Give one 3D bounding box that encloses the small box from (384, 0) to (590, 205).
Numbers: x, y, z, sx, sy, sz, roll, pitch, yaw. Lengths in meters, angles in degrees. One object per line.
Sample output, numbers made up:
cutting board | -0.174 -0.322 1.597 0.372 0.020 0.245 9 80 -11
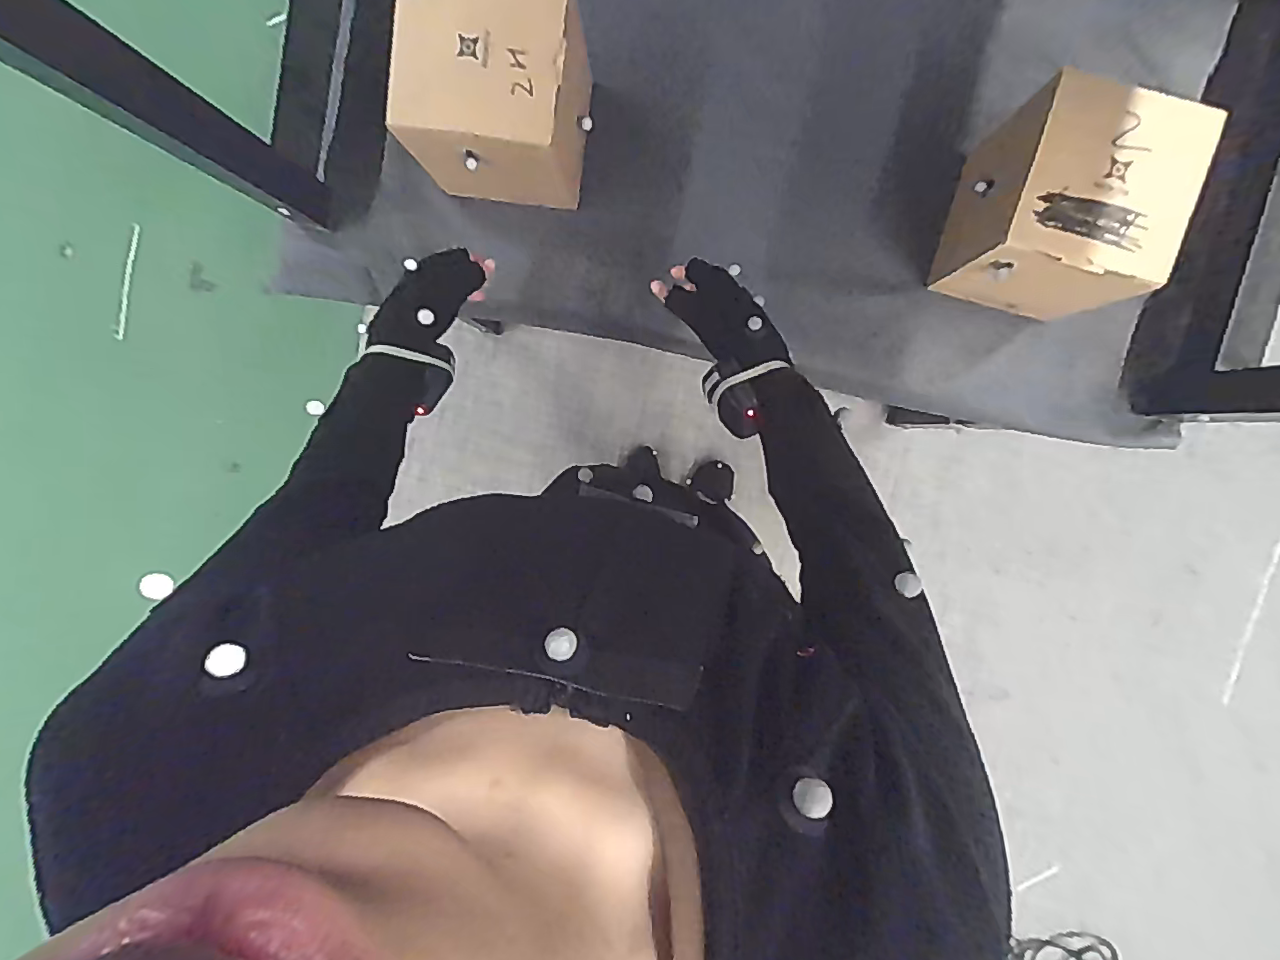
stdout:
small box | -0.163 -0.441 0.625 0.179 0.176 0.168 8 97 1
